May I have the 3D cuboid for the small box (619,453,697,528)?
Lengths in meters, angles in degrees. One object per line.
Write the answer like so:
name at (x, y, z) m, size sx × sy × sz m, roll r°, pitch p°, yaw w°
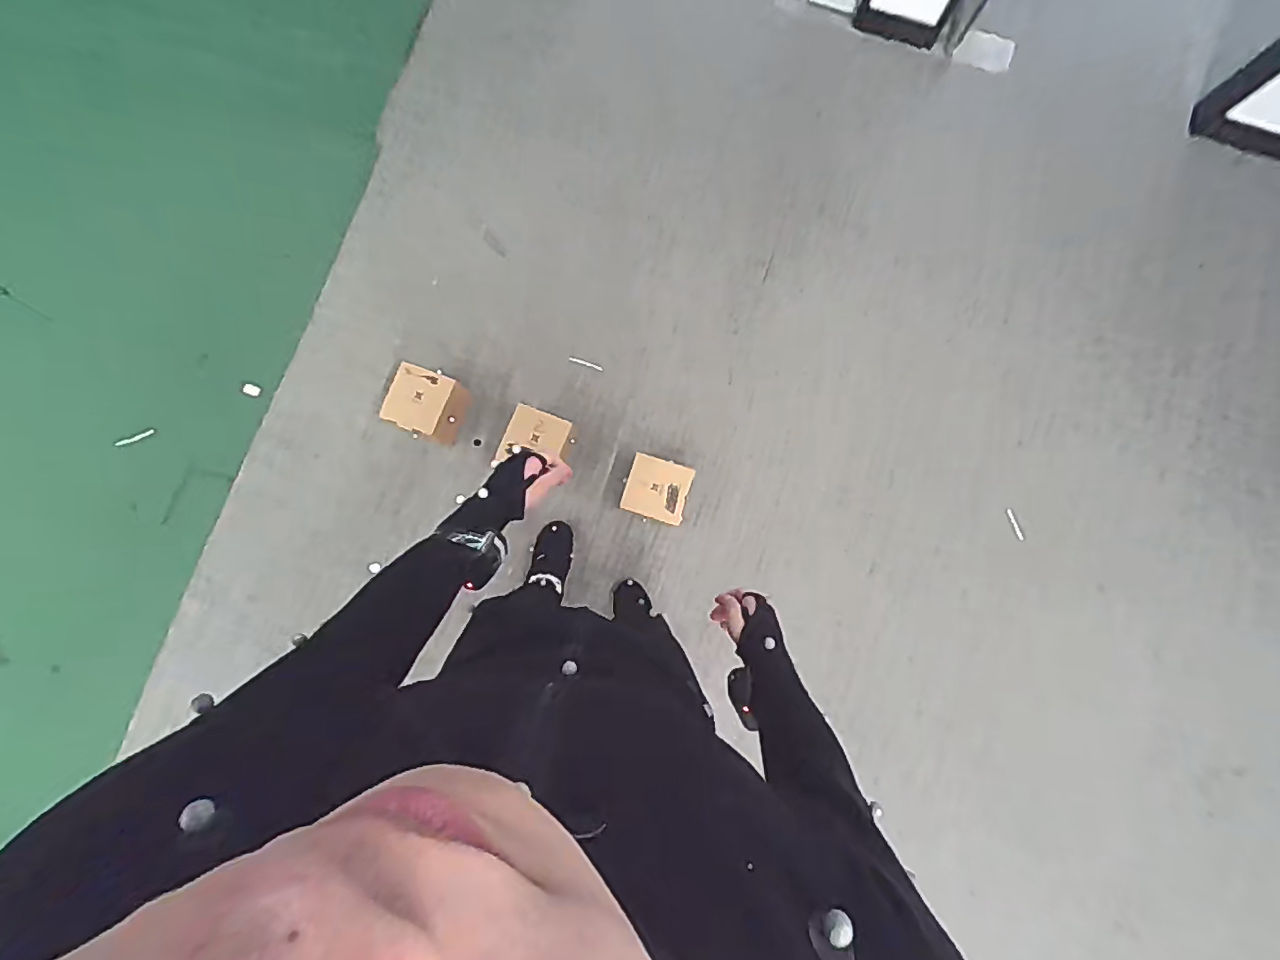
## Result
small box at (0.050, 0.035, 1.562) m, size 0.179 × 0.176 × 0.168 m, roll 18°, pitch 83°, yaw 2°

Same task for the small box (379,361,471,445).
small box at (-0.621, -0.218, 1.589) m, size 0.168 × 0.176 × 0.179 m, roll 21°, pitch 84°, yaw 2°
